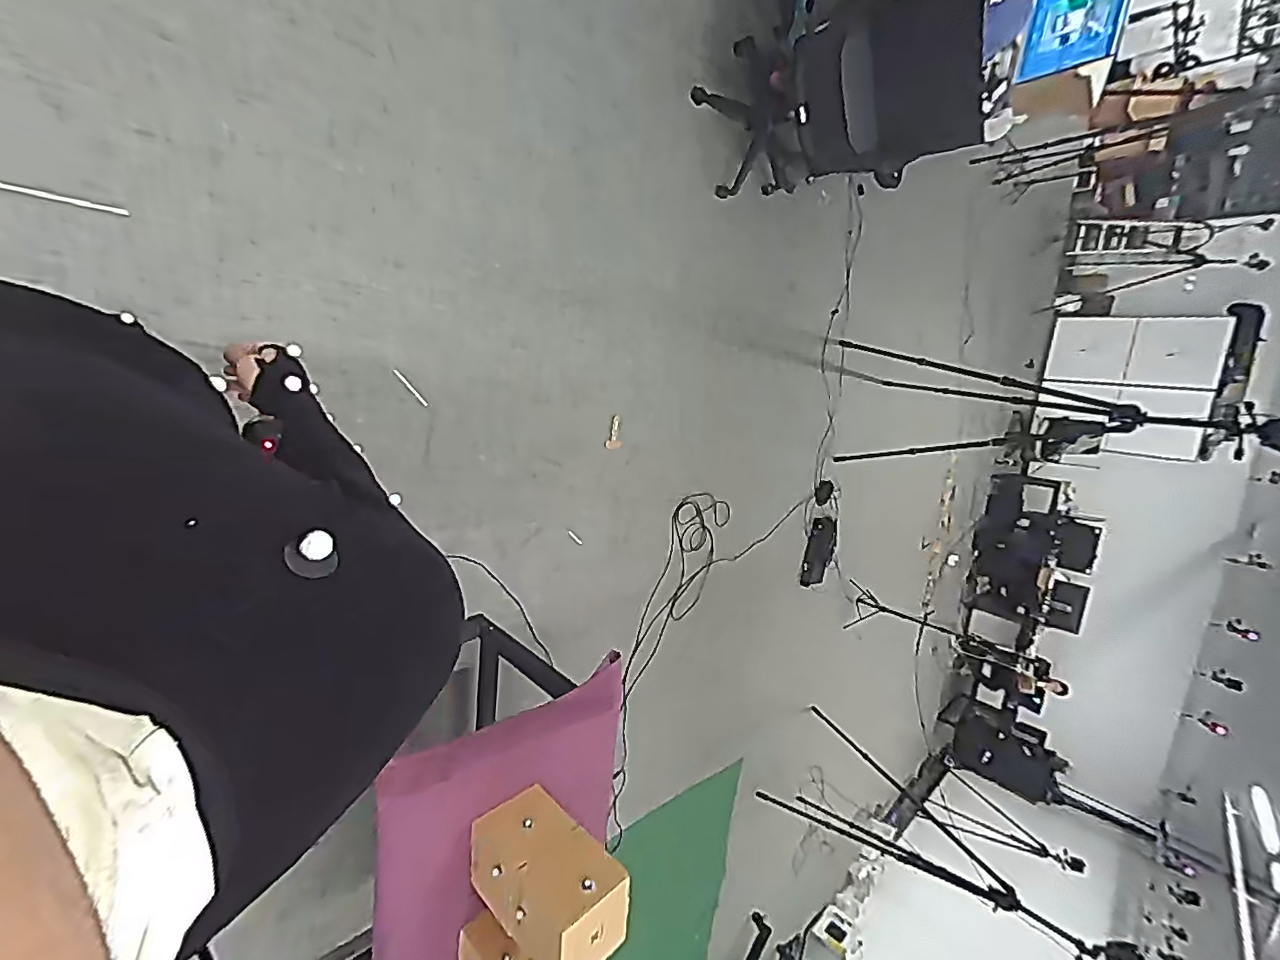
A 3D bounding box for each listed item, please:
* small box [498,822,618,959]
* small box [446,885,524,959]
[{"bbox_3d":[-0.170,0.858,1.116,0.179,0.176,0.168,-7,107,-46],"label":"small box"},{"bbox_3d":[-0.332,1.098,1.264,0.179,0.176,0.168,-6,106,-45],"label":"small box"}]
